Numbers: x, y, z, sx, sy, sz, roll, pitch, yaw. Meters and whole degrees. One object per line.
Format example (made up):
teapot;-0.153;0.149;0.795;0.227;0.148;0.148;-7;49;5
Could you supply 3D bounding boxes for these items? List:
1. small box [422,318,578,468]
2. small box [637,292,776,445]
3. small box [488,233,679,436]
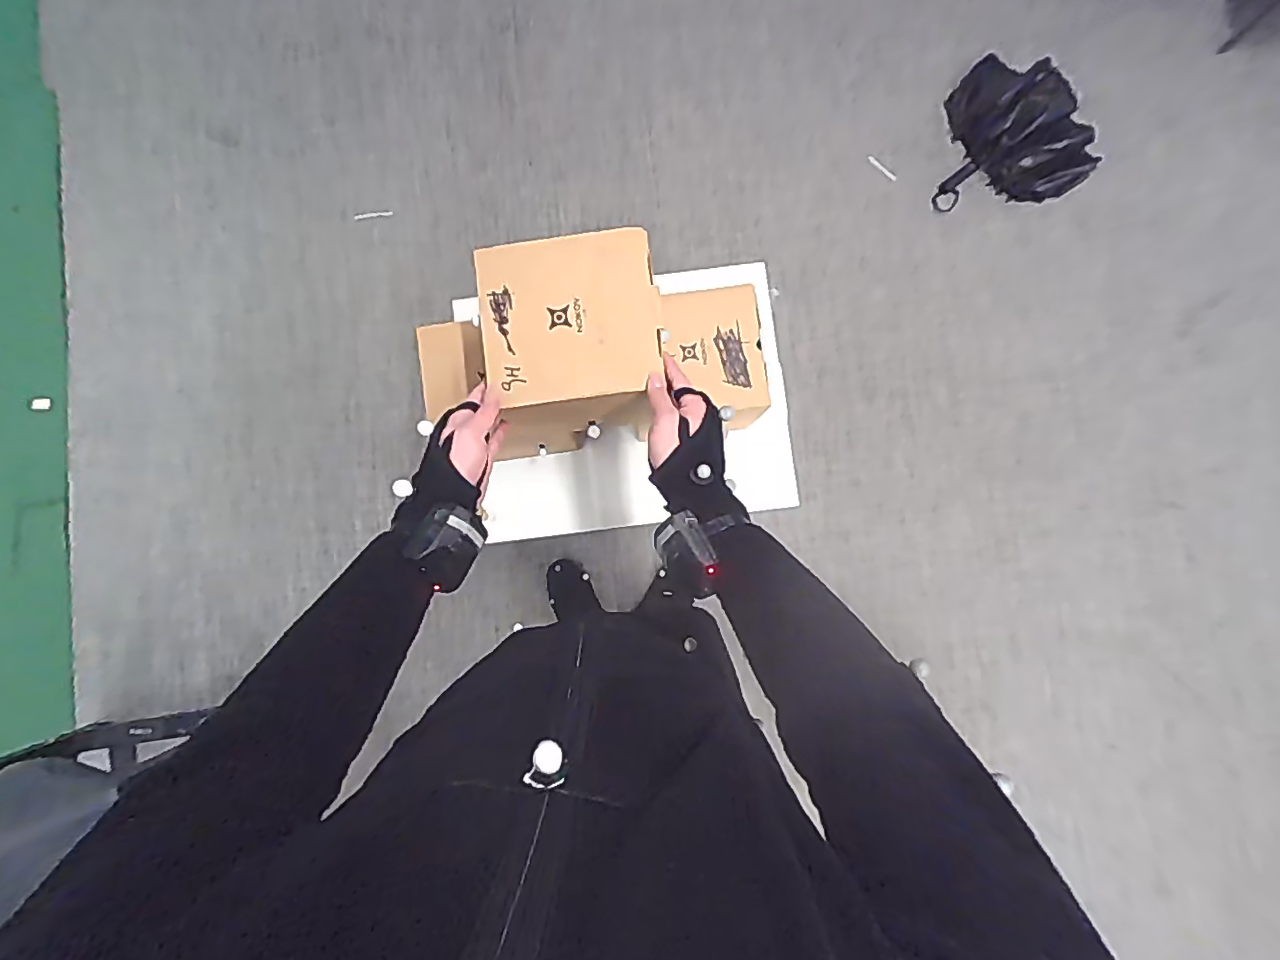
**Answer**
small box;-0.185;-0.117;0.764;0.179;0.176;0.168;-8;83;-1
small box;0.079;-0.148;0.769;0.179;0.176;0.168;-6;84;0
small box;-0.058;-0.150;0.605;0.179;0.176;0.168;-6;84;-1
